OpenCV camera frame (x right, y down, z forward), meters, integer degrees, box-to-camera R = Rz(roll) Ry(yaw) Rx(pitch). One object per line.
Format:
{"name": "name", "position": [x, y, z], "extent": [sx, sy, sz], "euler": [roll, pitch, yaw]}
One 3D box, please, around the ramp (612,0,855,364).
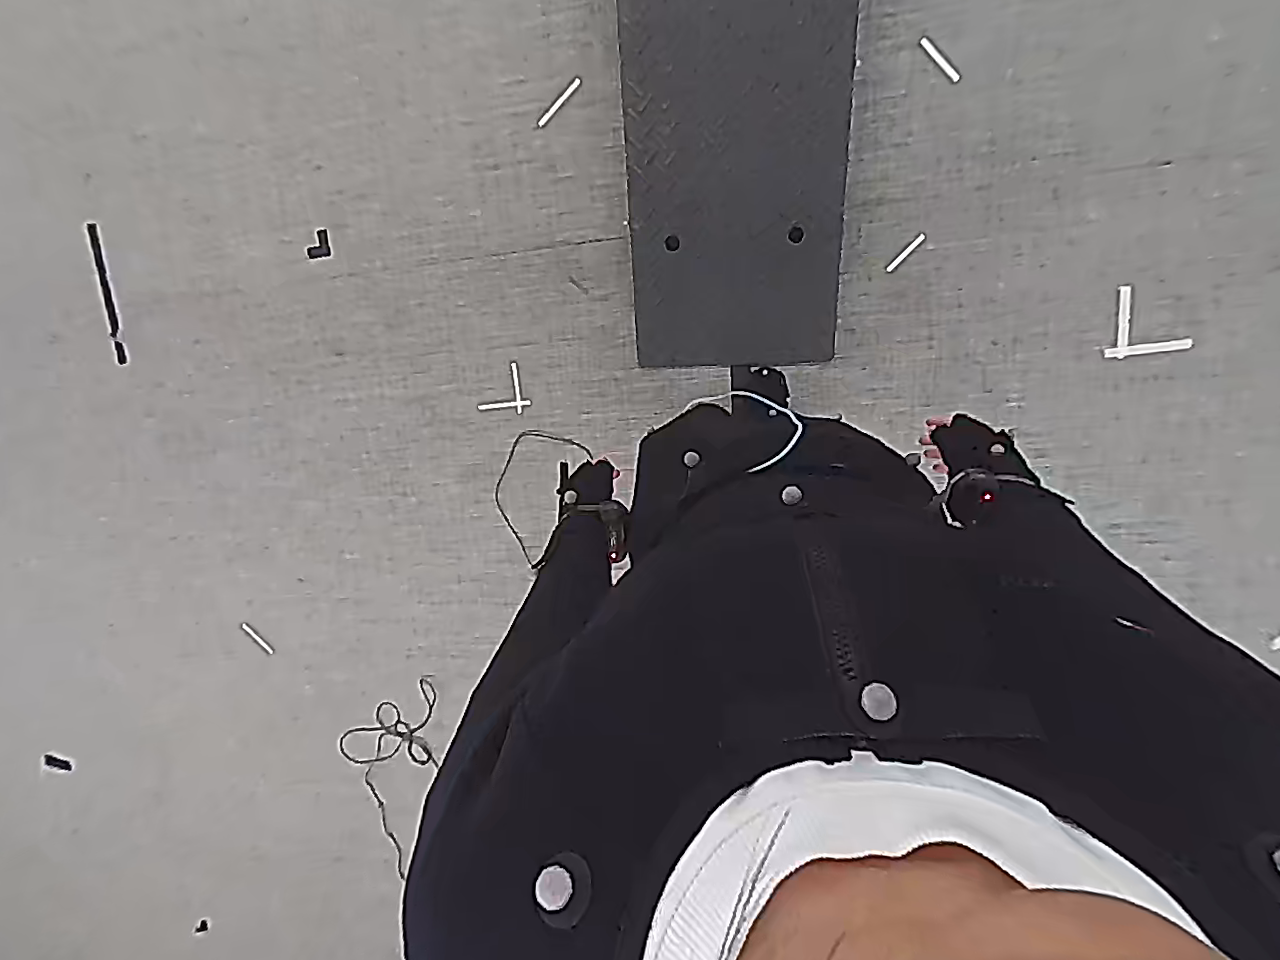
{"name": "ramp", "position": [0.200, -0.765, 1.187], "extent": [0.509, 0.206, 0.991], "euler": [-2, 103, 8]}
